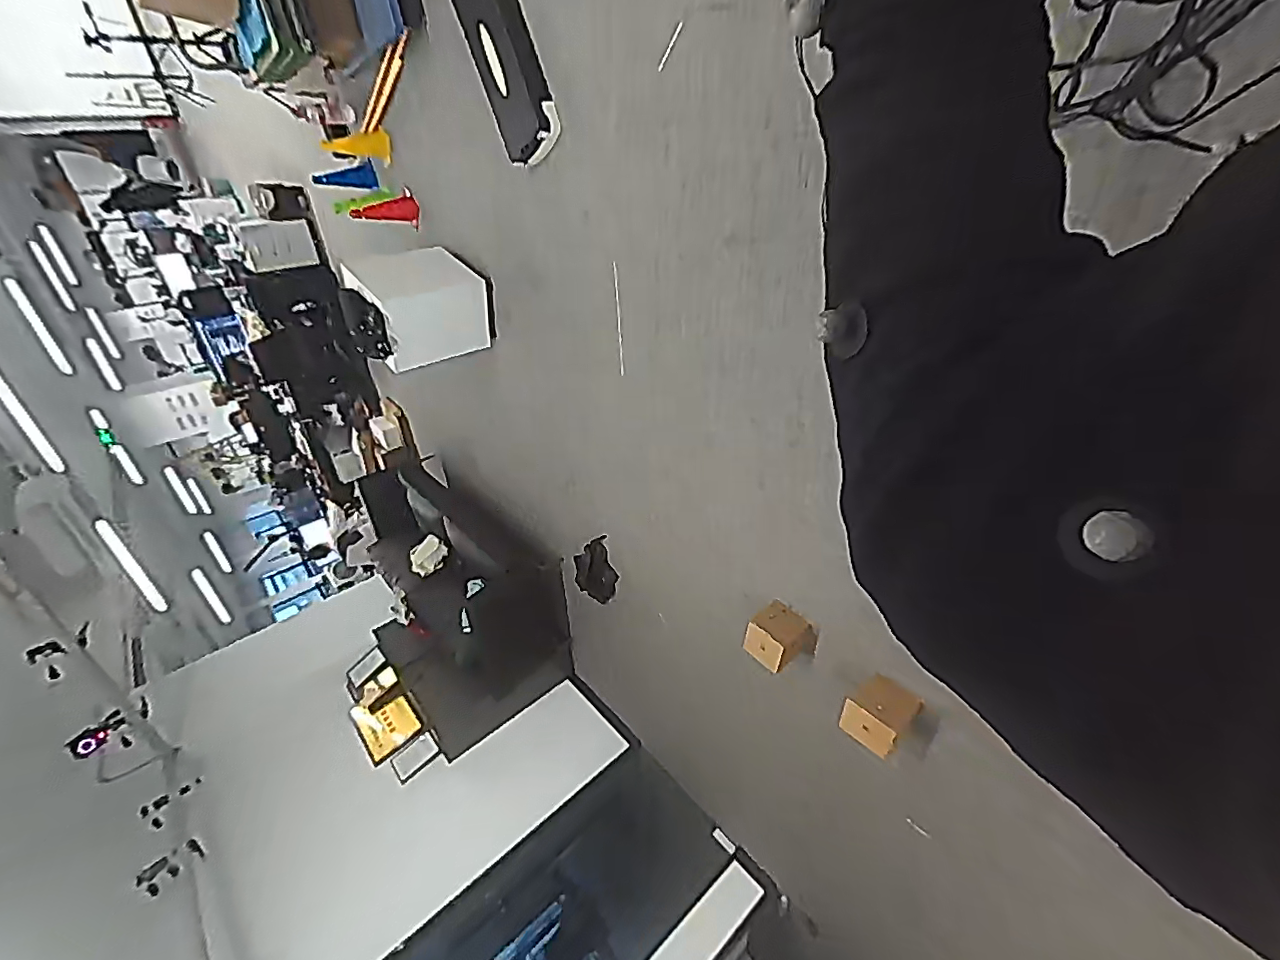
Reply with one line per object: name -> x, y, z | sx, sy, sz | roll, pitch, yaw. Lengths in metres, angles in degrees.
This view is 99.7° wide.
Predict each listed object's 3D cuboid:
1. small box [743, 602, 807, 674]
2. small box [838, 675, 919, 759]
small box -> 0.527, 0.610, 2.109 | 0.168, 0.176, 0.179 | 35, 139, 37
small box -> 0.814, 0.798, 1.848 | 0.179, 0.176, 0.168 | 30, 135, 39
